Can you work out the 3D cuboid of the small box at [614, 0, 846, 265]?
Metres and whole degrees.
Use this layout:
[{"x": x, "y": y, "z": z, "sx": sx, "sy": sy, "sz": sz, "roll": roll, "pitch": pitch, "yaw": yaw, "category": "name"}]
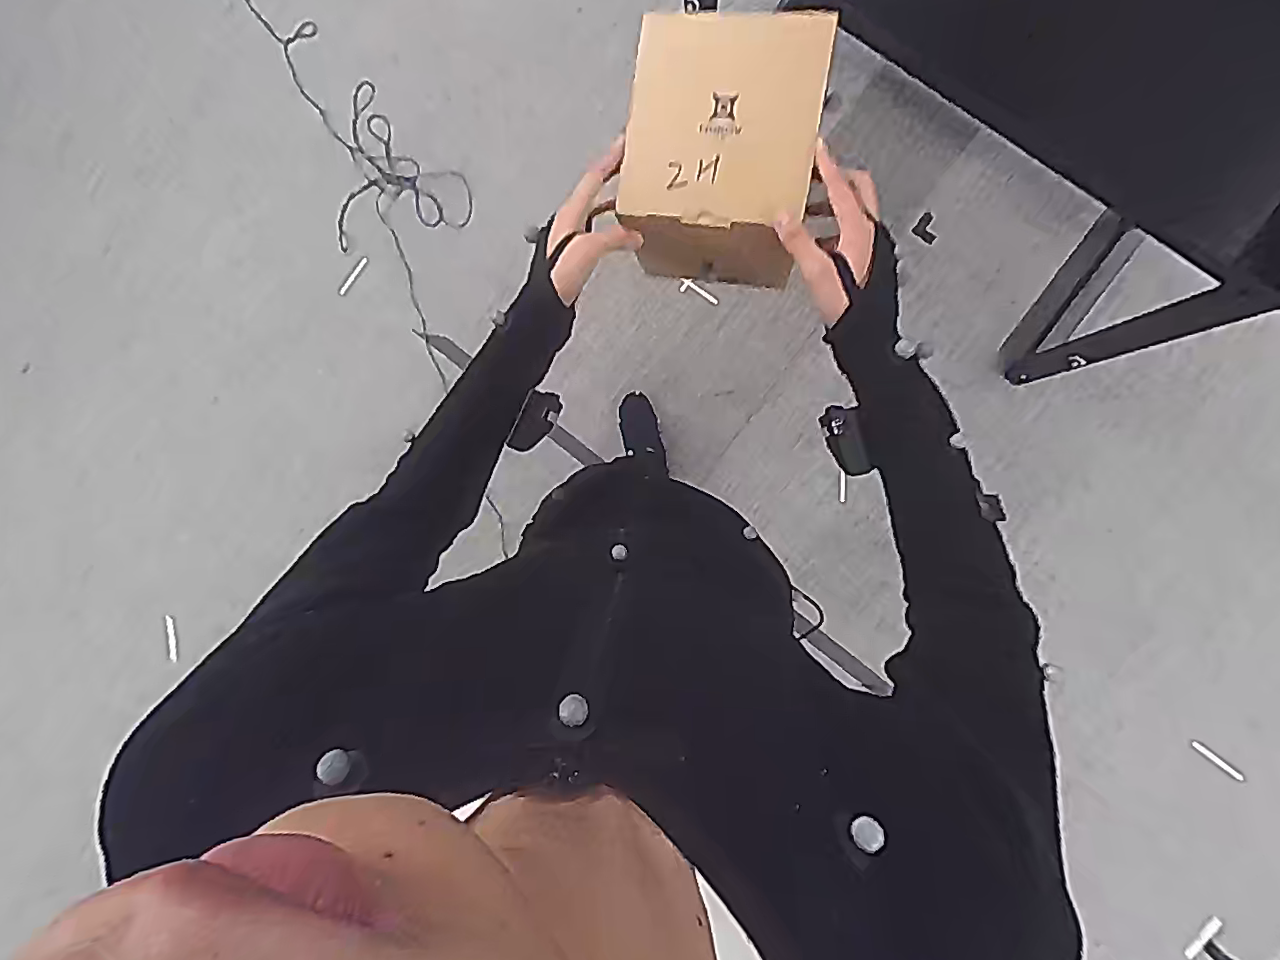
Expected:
[{"x": 0.084, "y": -0.331, "z": 0.523, "sx": 0.168, "sy": 0.176, "sz": 0.179, "roll": 11, "pitch": 96, "yaw": 10, "category": "small box"}]
